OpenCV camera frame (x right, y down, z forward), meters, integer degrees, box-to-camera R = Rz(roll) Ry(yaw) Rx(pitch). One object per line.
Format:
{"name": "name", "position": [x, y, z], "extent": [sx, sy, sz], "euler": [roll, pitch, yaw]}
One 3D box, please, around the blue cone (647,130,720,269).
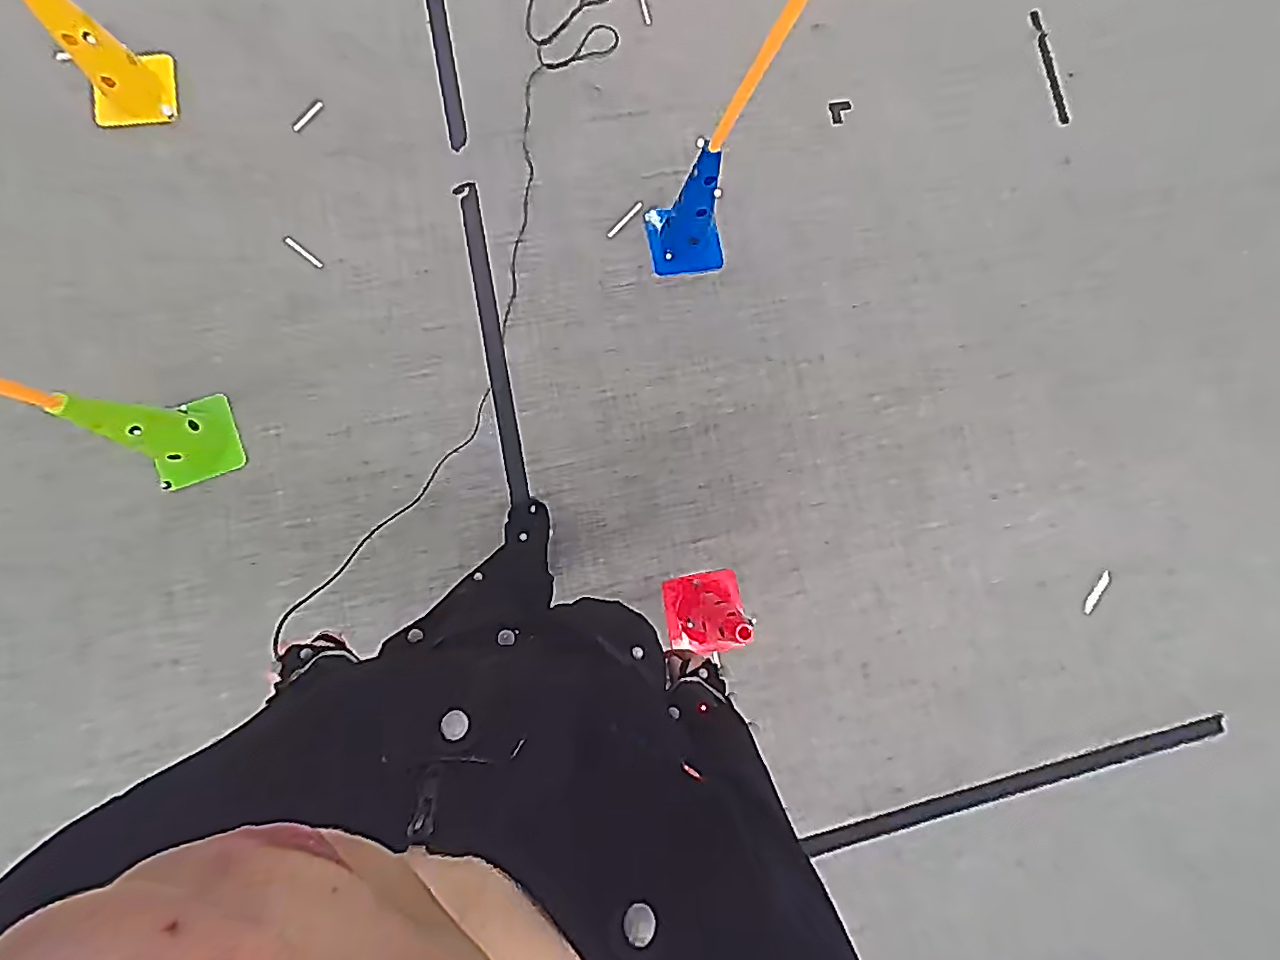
{"name": "blue cone", "position": [0.137, -0.708, 1.353], "extent": [0.193, 0.380, 0.192], "euler": [-8, 82, -6]}

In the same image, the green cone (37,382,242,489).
{"name": "green cone", "position": [-1.081, -0.125, 1.155], "extent": [0.200, 0.368, 0.202], "euler": [-22, 83, -8]}
